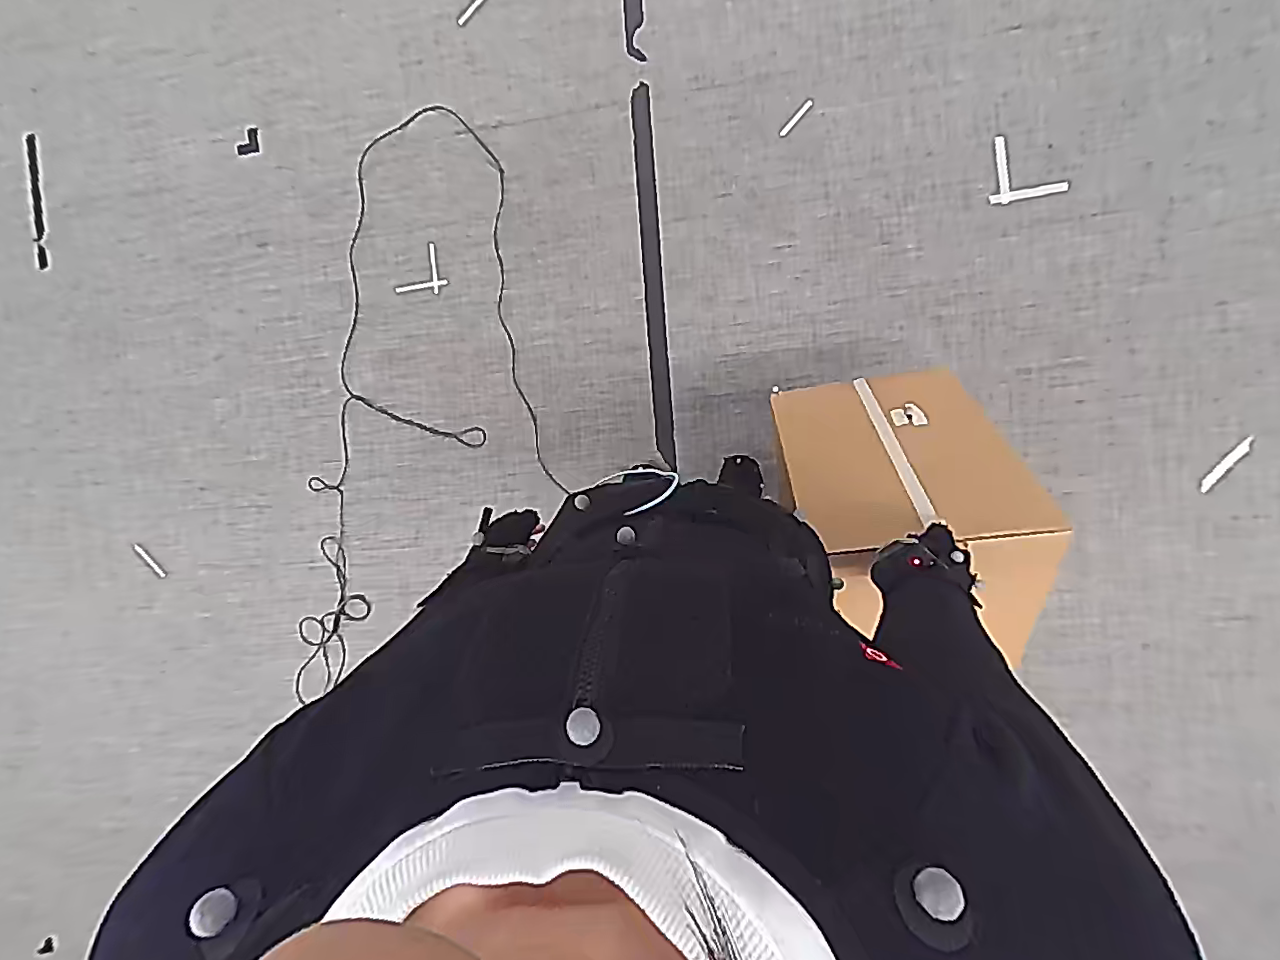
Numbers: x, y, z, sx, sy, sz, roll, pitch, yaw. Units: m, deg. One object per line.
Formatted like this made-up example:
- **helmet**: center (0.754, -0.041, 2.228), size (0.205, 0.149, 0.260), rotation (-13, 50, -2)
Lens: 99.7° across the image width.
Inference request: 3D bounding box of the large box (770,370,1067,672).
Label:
- **large box**: center (0.420, 0.062, 0.932), size (0.320, 0.408, 0.320), rotation (-7, 129, 9)
